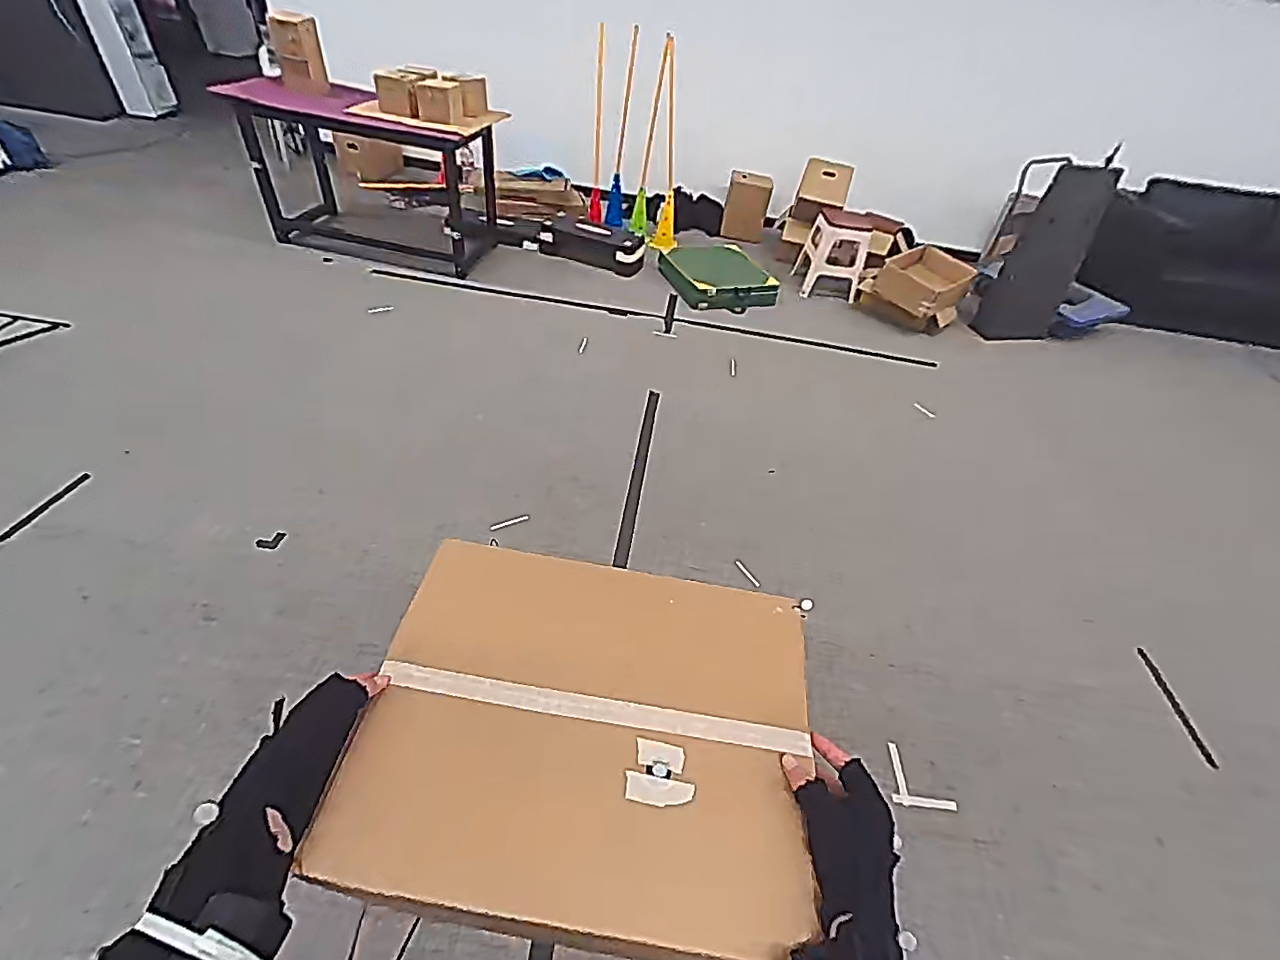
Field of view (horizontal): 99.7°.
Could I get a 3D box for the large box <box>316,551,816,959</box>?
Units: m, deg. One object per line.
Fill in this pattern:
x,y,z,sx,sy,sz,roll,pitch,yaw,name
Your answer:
-0.057,0.321,0.626,0.408,0.320,0.320,10,48,1,large box
